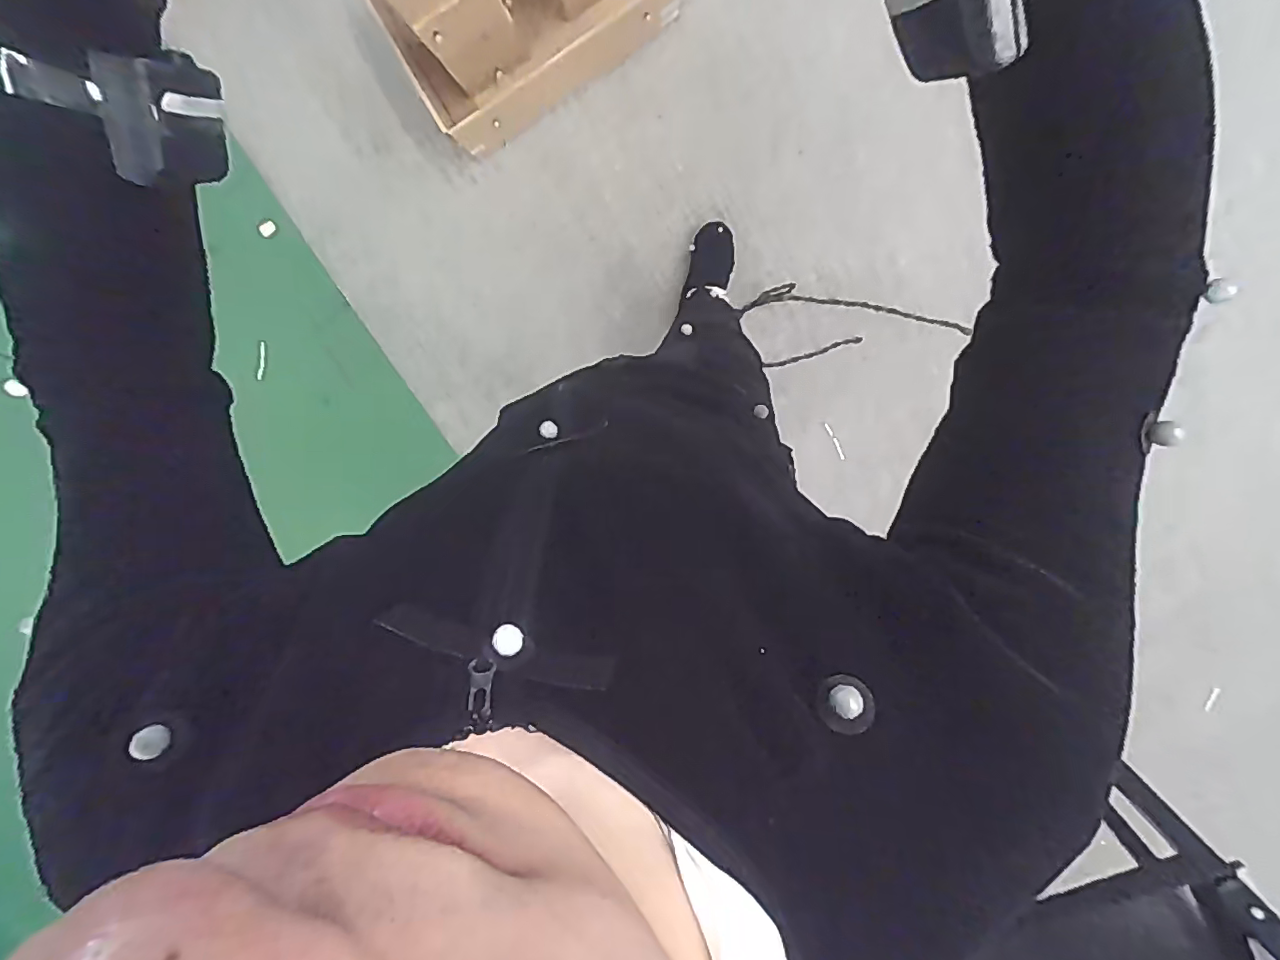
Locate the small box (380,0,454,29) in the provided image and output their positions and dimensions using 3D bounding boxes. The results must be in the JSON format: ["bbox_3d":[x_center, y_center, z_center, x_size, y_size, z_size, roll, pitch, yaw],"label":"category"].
[{"bbox_3d":[-0.398,-0.910,0.893,0.179,0.176,0.168,-27,103,10],"label":"small box"}]
